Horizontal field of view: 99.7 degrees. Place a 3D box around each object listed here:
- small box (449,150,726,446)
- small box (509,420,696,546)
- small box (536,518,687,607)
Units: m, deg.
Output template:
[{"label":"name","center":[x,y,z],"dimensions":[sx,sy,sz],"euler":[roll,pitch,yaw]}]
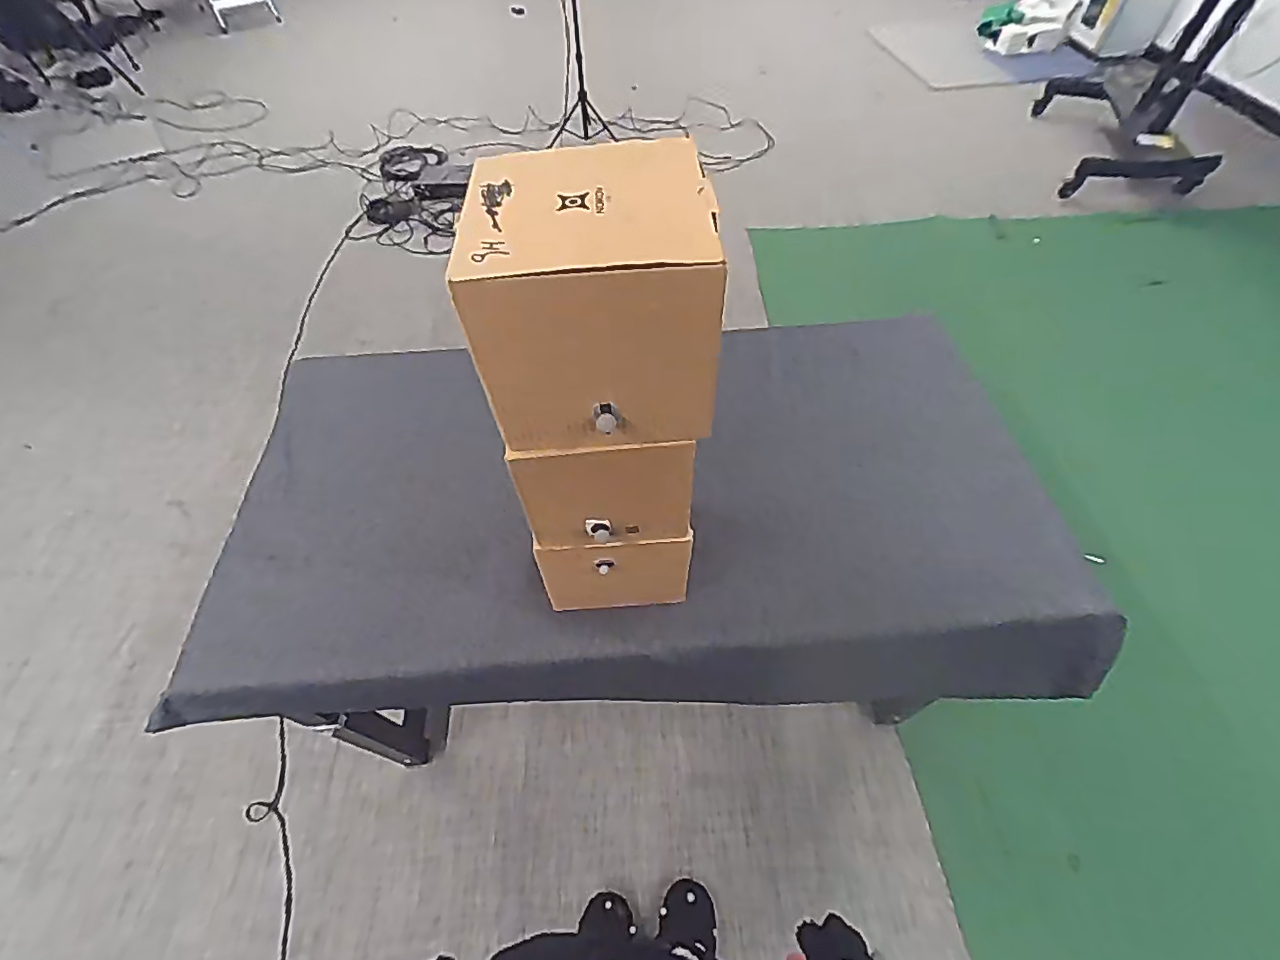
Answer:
[{"label":"small box","center":[-0.035,-0.143,0.446],"dimensions":[0.179,0.176,0.168],"euler":[-4,54,-1]},{"label":"small box","center":[-0.037,-0.049,0.580],"dimensions":[0.168,0.176,0.179],"euler":[-6,56,-1]},{"label":"small box","center":[-0.034,0.061,0.721],"dimensions":[0.179,0.176,0.168],"euler":[-3,55,-2]}]
